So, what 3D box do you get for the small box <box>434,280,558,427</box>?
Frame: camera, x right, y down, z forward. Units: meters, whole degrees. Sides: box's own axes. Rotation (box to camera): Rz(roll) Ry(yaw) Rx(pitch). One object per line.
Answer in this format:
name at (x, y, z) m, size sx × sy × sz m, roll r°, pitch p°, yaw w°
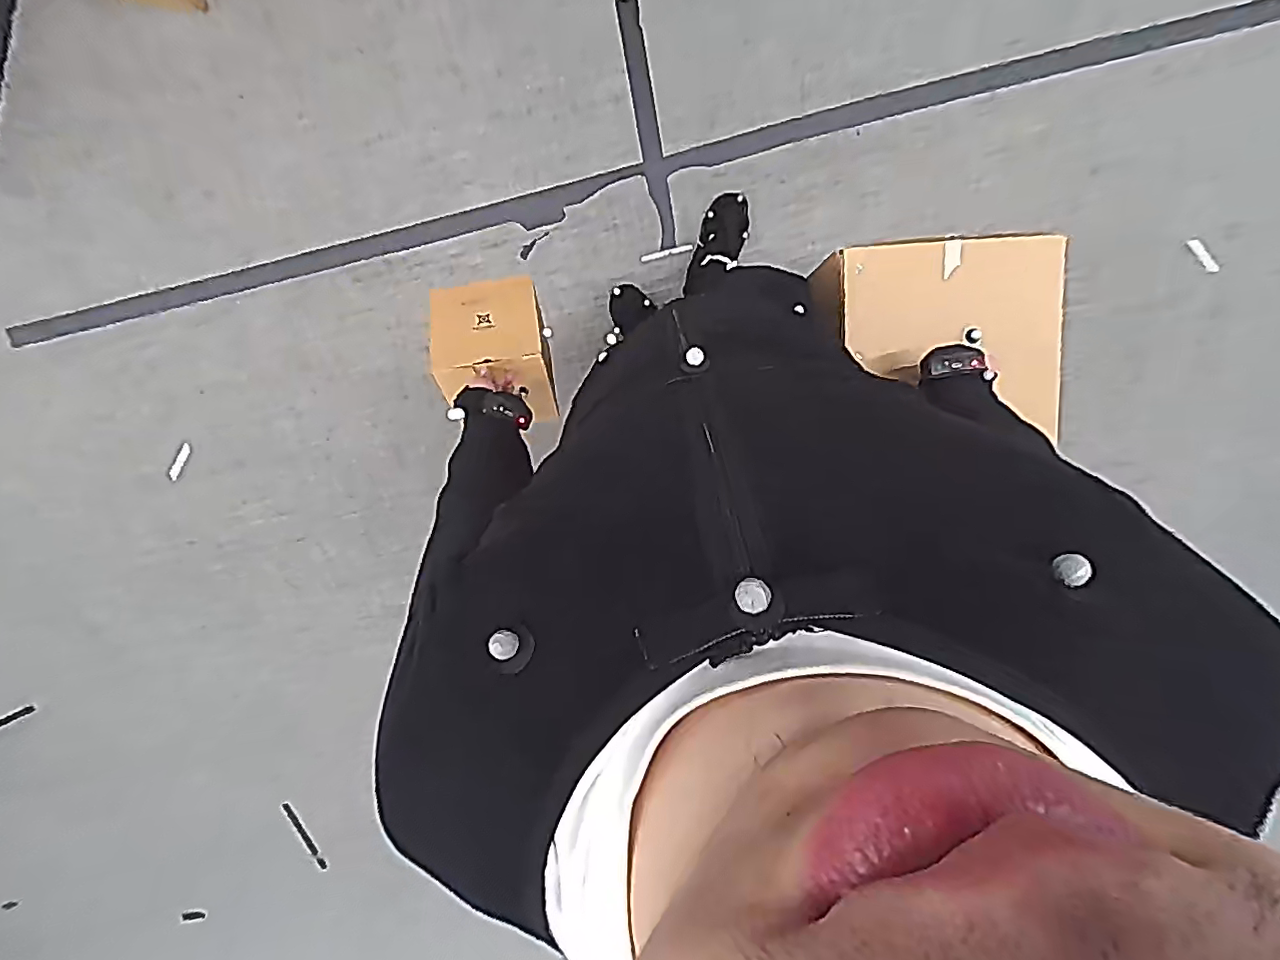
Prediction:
small box at (-0.238, -0.204, 0.918) m, size 0.168 × 0.179 × 0.176 m, roll -9°, pitch 150°, yaw -4°
